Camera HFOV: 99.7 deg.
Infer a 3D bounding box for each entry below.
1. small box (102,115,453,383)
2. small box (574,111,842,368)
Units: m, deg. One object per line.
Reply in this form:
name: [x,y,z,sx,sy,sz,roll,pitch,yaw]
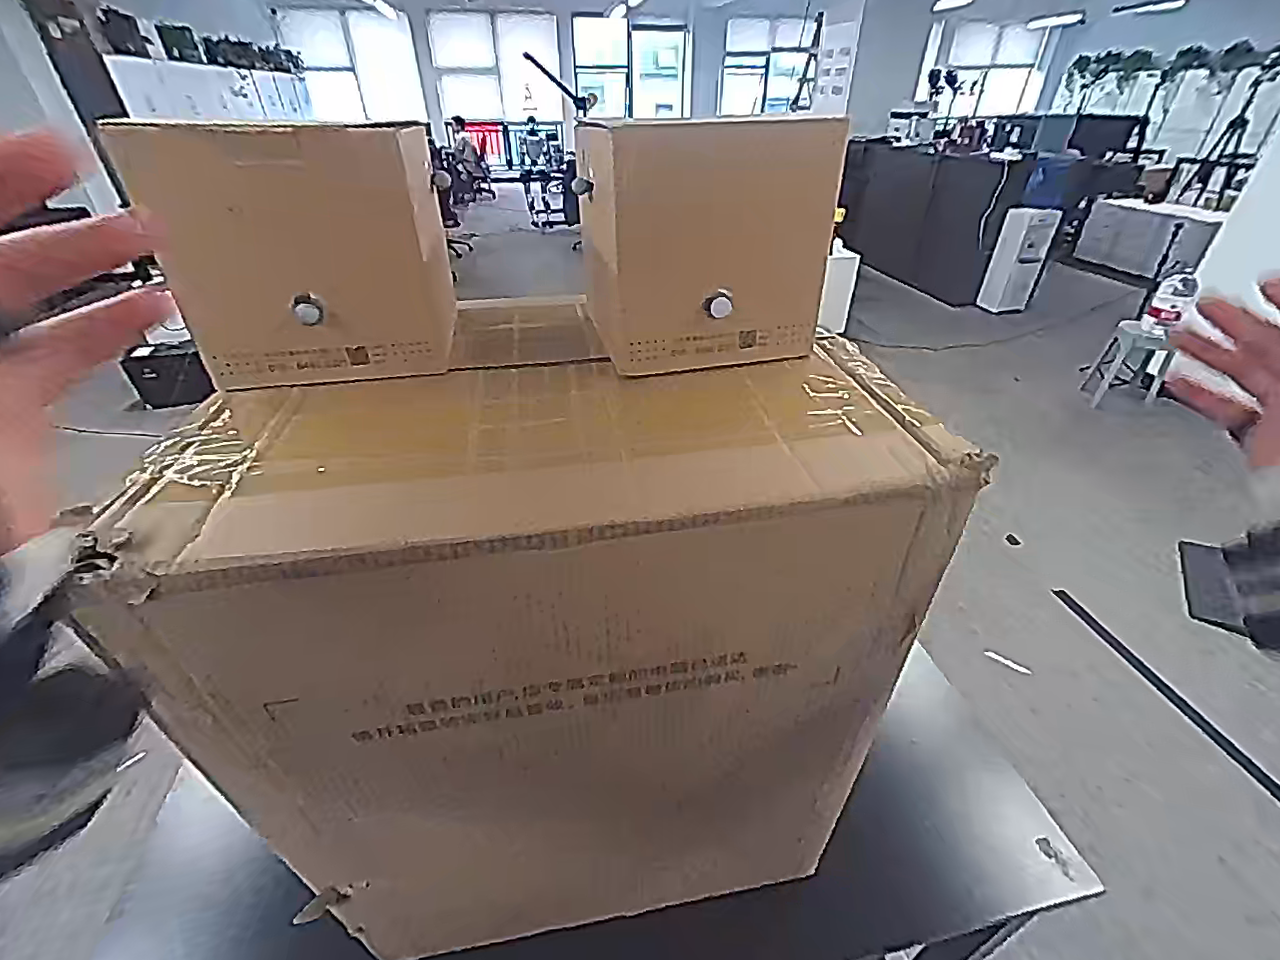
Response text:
small box: [-0.254,-0.191,0.440,0.168,0.176,0.179,-7,34,-11]
small box: [0.040,-0.207,0.458,0.168,0.176,0.179,-9,35,-10]
